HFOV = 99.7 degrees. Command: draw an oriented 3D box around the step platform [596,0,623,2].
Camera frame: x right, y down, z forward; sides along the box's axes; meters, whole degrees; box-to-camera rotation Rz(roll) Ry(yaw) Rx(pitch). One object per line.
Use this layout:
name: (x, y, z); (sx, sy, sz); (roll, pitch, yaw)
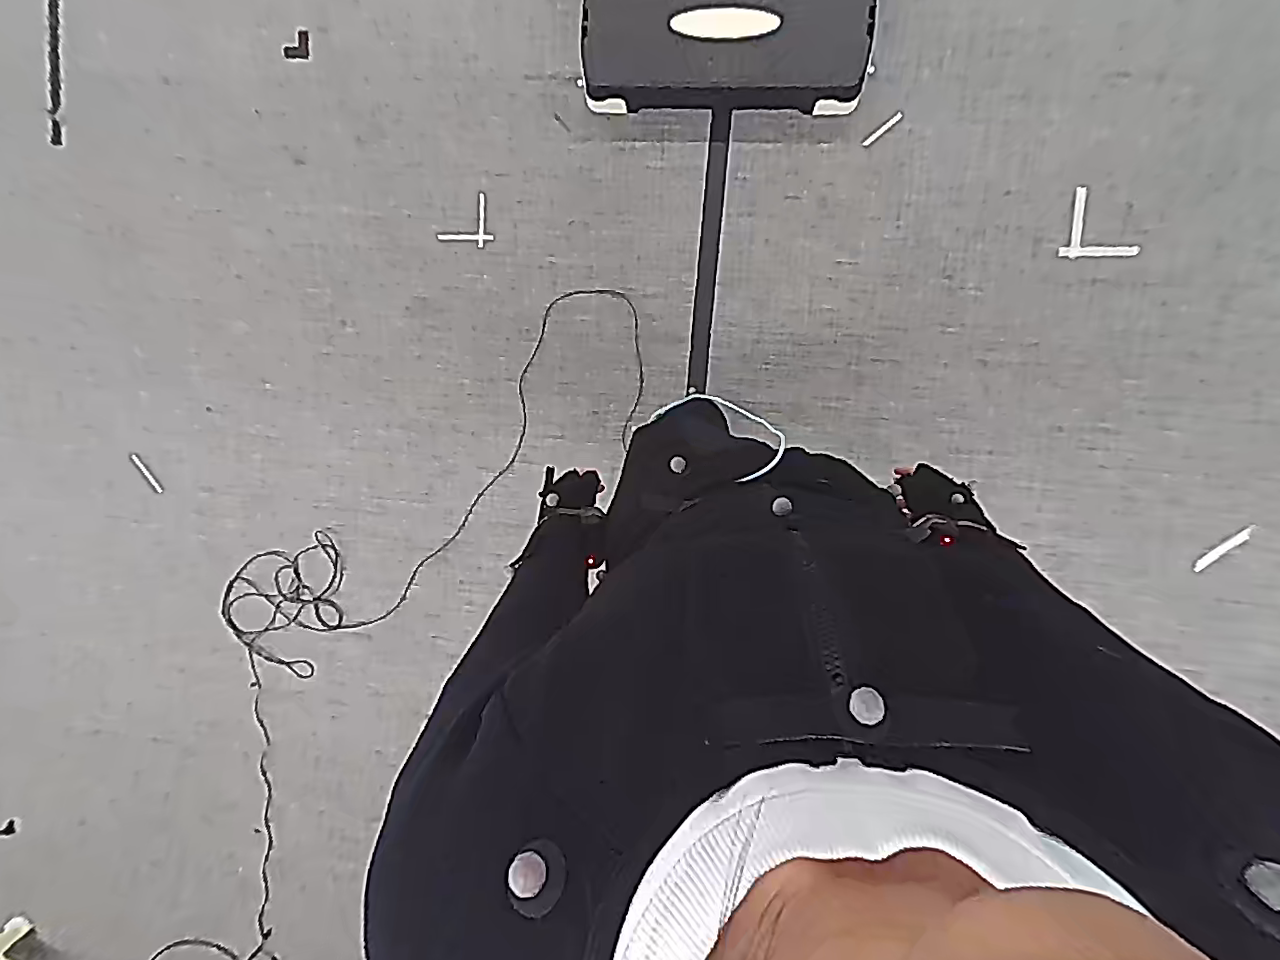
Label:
step platform: (0.185, -1.291, 1.196); (0.684, 0.204, 0.286); (3, 97, 5)
